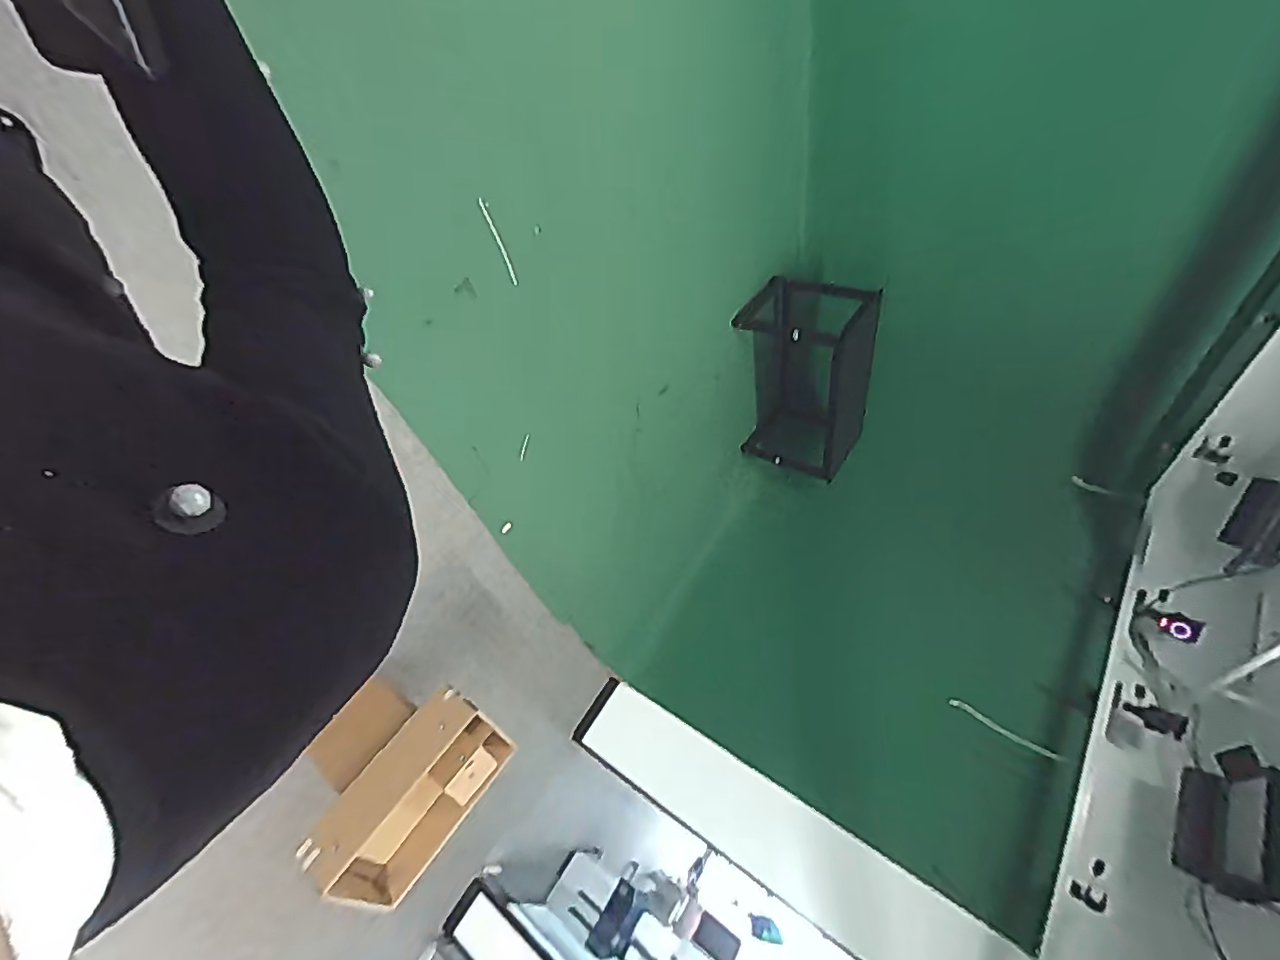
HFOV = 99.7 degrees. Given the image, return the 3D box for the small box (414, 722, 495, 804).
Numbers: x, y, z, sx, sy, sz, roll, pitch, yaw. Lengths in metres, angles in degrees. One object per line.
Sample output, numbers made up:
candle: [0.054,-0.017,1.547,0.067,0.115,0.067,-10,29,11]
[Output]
small box: [-0.645,0.982,1.884,0.168,0.176,0.179,-48,144,-31]
